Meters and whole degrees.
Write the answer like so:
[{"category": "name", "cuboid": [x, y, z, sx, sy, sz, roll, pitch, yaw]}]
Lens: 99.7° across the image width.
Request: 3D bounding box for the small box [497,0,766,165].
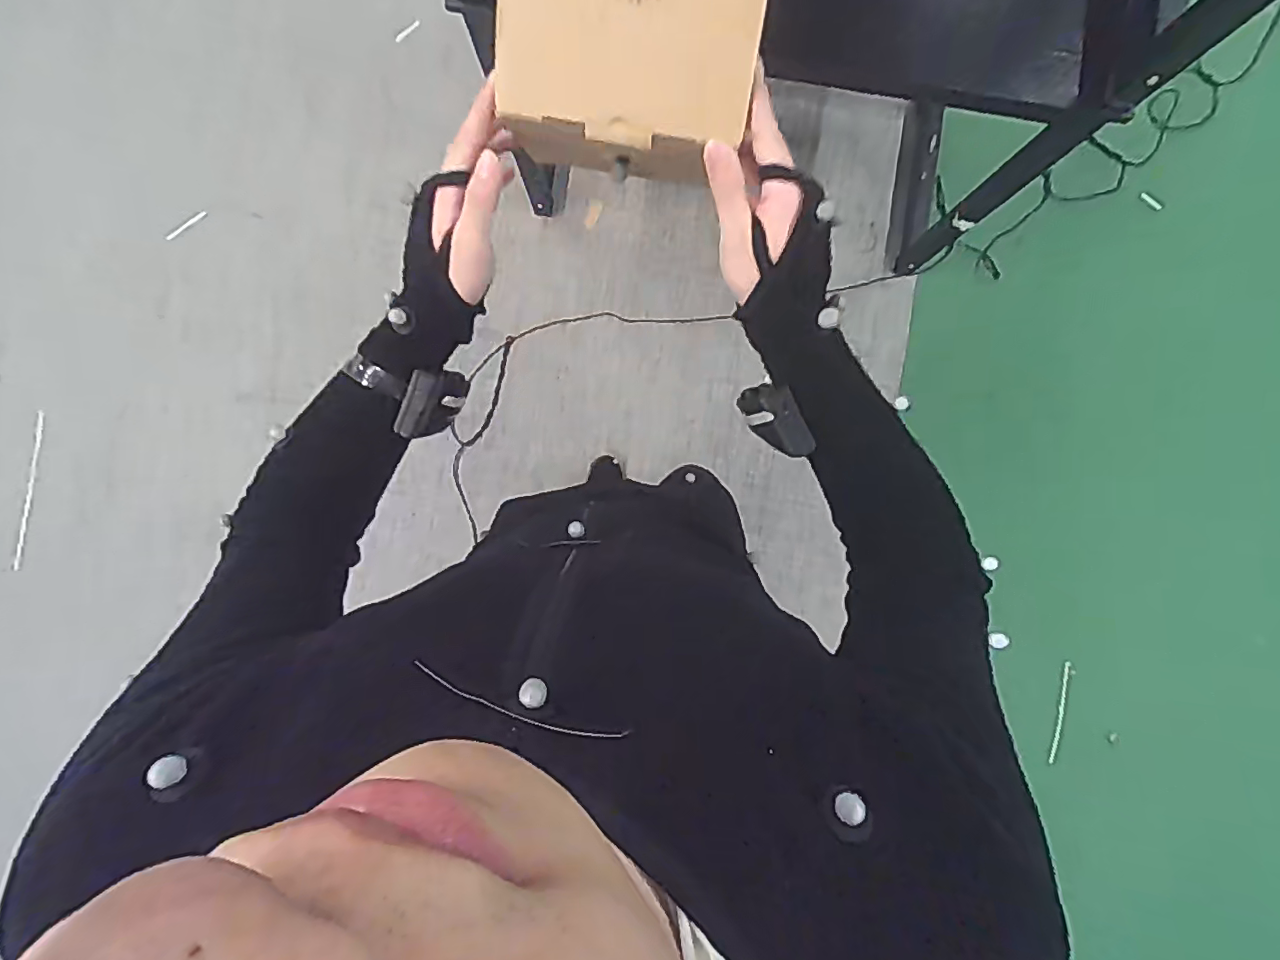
[{"category": "small box", "cuboid": [0.000, -0.347, 0.395, 0.168, 0.176, 0.179, 7, 112, -3]}]
